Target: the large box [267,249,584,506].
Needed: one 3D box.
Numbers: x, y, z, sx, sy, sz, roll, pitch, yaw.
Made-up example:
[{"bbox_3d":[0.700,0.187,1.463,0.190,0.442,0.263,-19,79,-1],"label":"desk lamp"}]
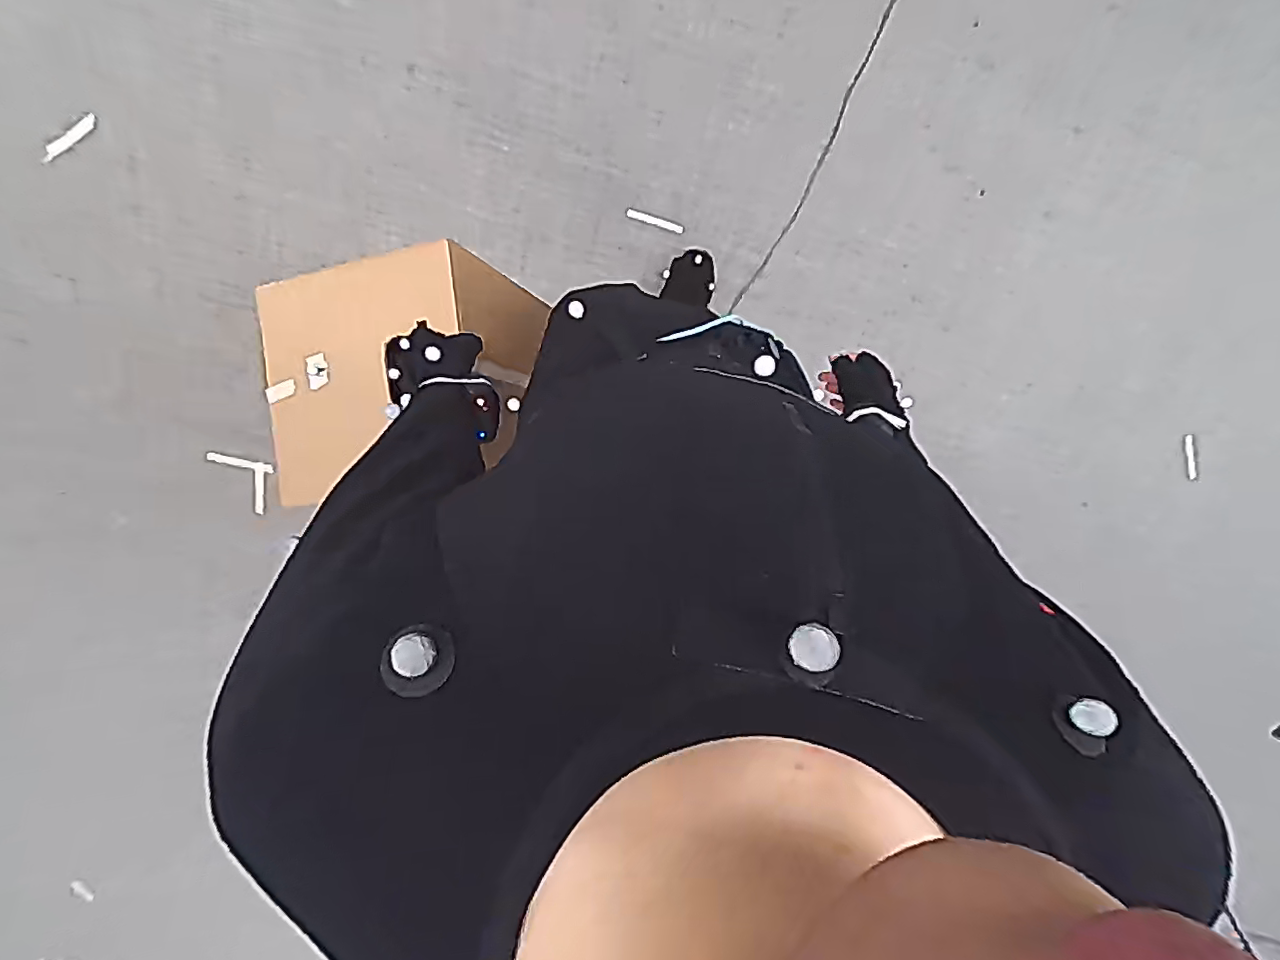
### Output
[{"bbox_3d":[-0.320,-0.142,0.918,0.320,0.408,0.320,-6,92,13],"label":"large box"}]
